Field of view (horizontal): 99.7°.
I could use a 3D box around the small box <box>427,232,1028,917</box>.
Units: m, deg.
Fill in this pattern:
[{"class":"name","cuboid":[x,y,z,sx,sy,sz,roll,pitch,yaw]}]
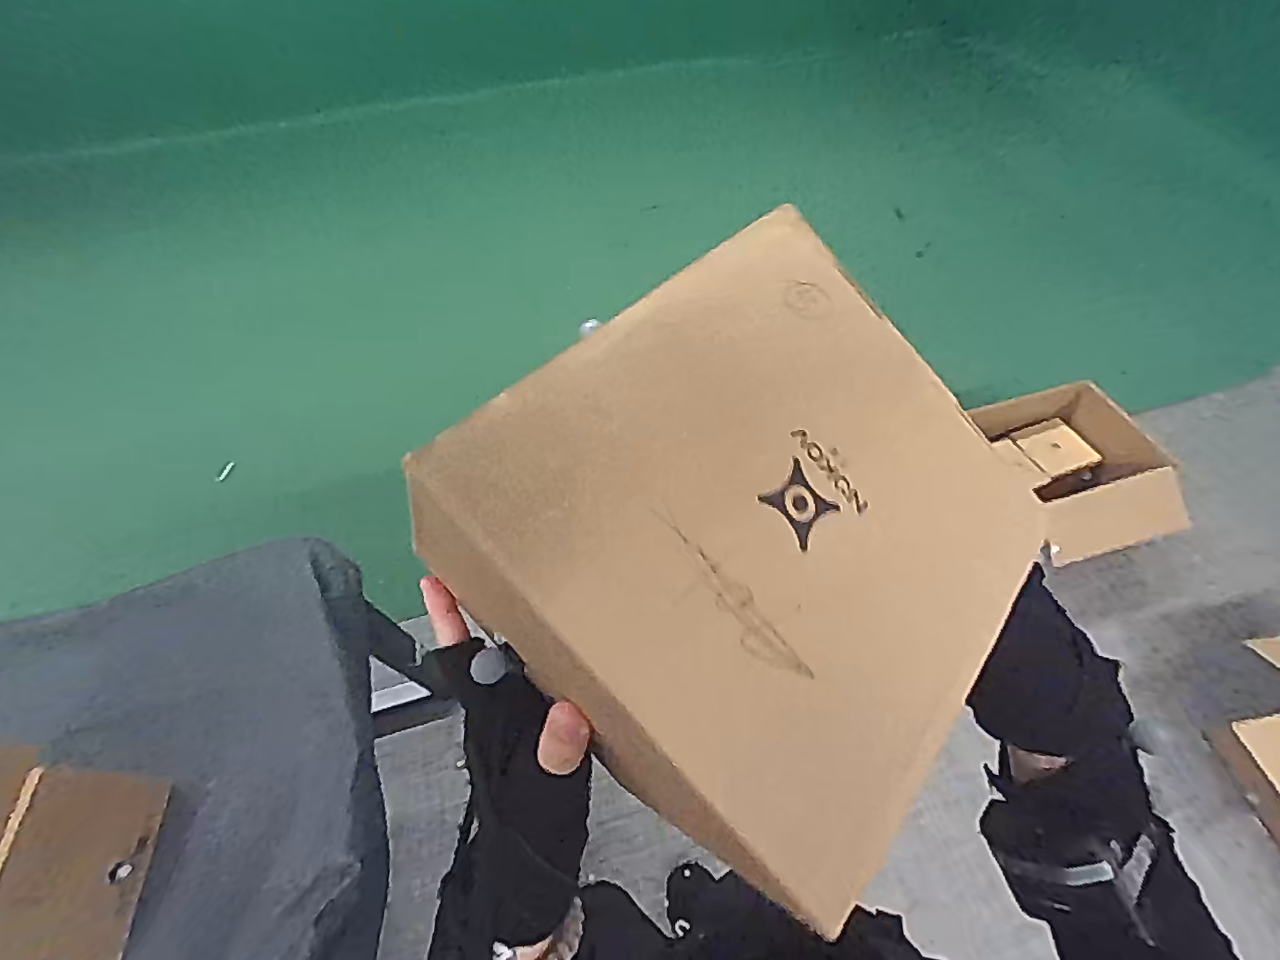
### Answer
[{"class":"small box","cuboid":[0.022,0.032,0.254,0.168,0.176,0.179,48,63,1]}]
